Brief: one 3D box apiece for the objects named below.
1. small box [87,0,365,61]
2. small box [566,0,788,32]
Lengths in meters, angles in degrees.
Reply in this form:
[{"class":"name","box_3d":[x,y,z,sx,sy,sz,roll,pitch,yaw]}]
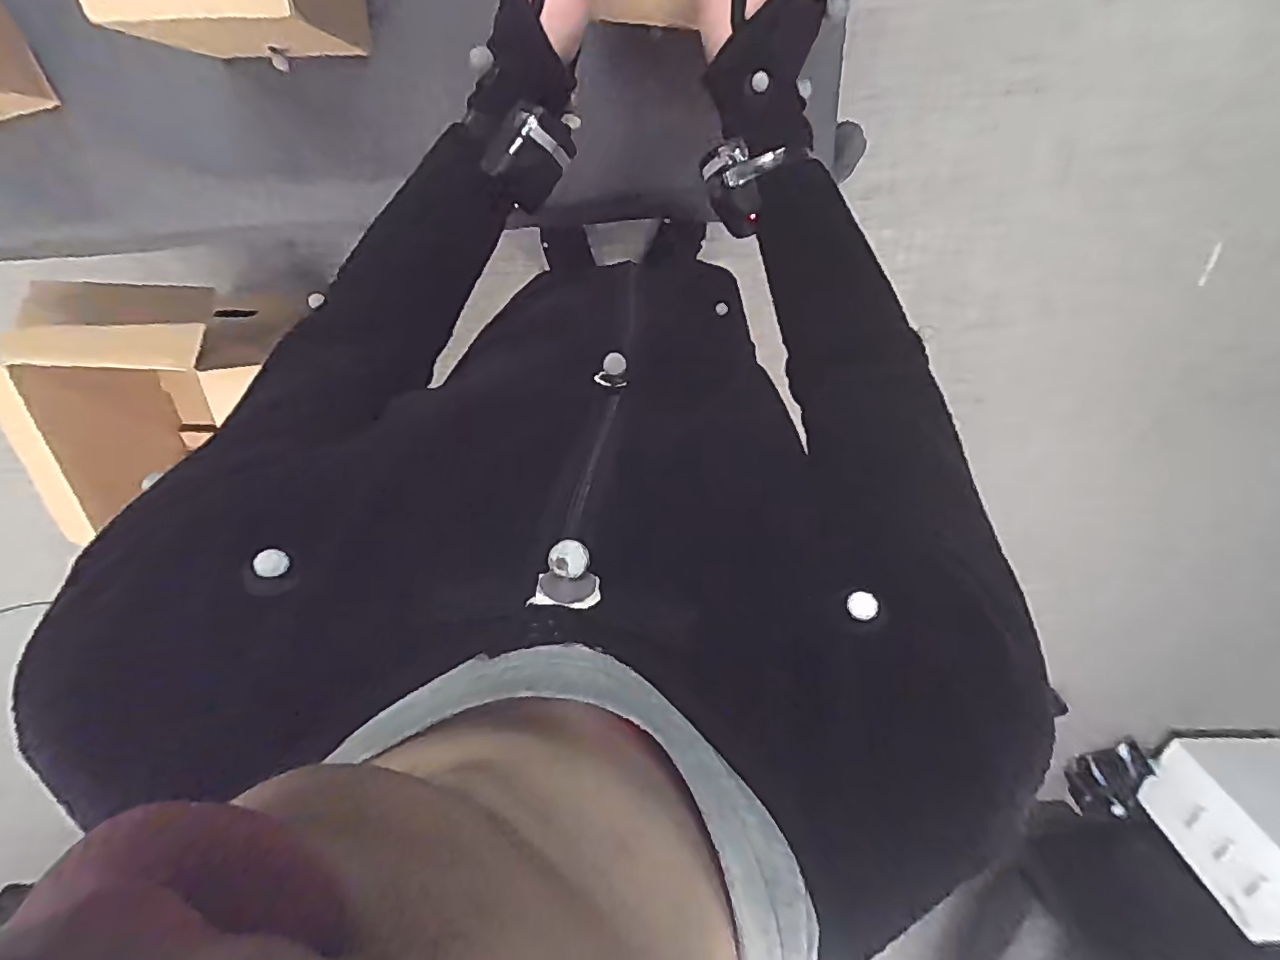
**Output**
[{"class":"small box","box_3d":[-0.375,-0.496,0.487,0.179,0.176,0.168,-2,119,0]},{"class":"small box","box_3d":[0.038,-0.478,0.428,0.179,0.176,0.168,5,136,-1]}]
